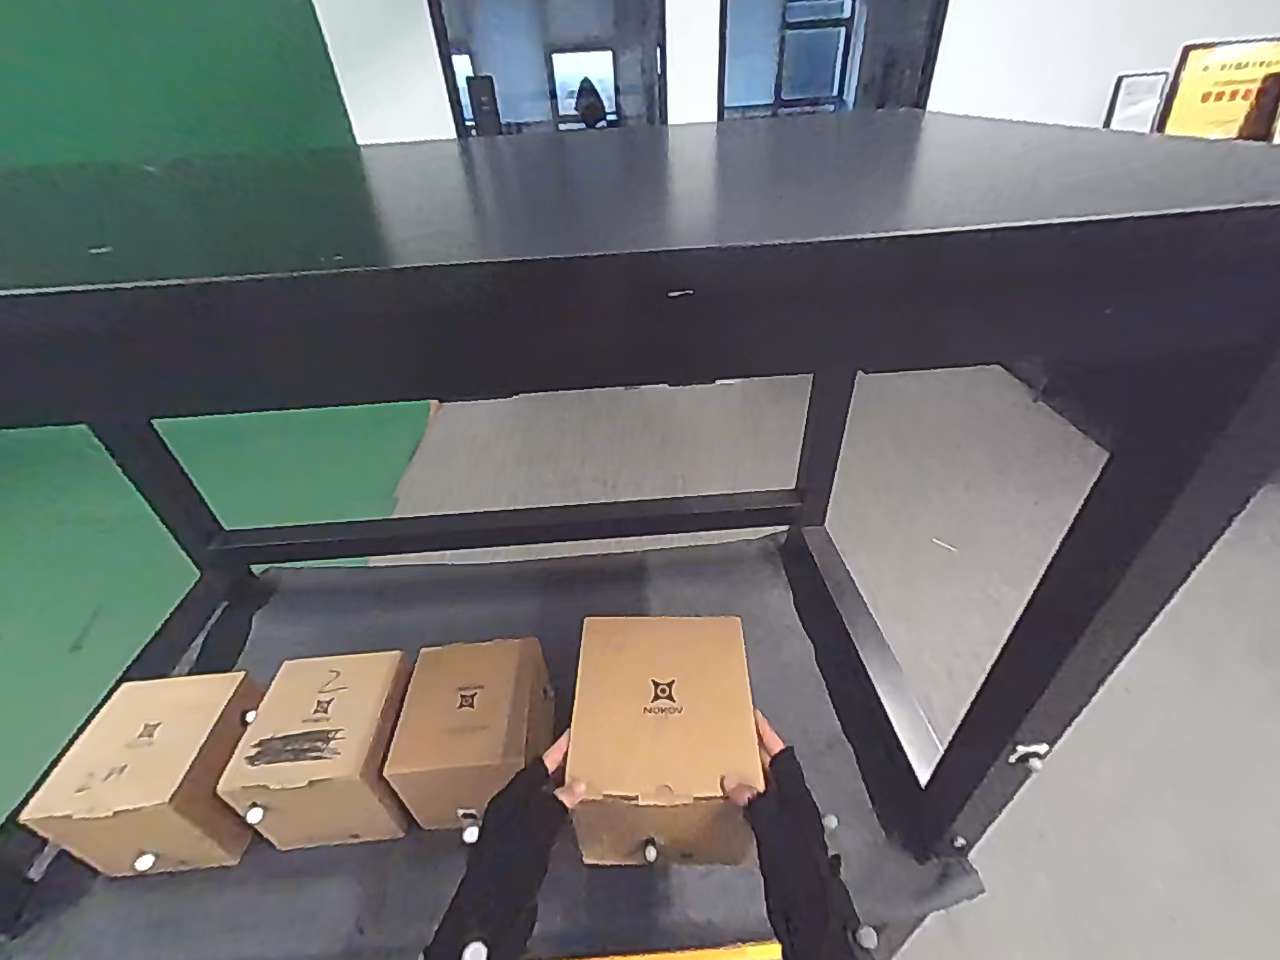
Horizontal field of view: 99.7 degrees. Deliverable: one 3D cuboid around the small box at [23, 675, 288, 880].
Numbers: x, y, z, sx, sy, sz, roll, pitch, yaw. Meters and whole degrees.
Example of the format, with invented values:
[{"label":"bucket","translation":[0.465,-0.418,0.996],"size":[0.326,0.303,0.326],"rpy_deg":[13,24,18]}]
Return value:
[{"label":"small box","translation":[-0.602,0.386,0.710],"size":[0.168,0.176,0.179],"rpy_deg":[-5,36,-2]}]
